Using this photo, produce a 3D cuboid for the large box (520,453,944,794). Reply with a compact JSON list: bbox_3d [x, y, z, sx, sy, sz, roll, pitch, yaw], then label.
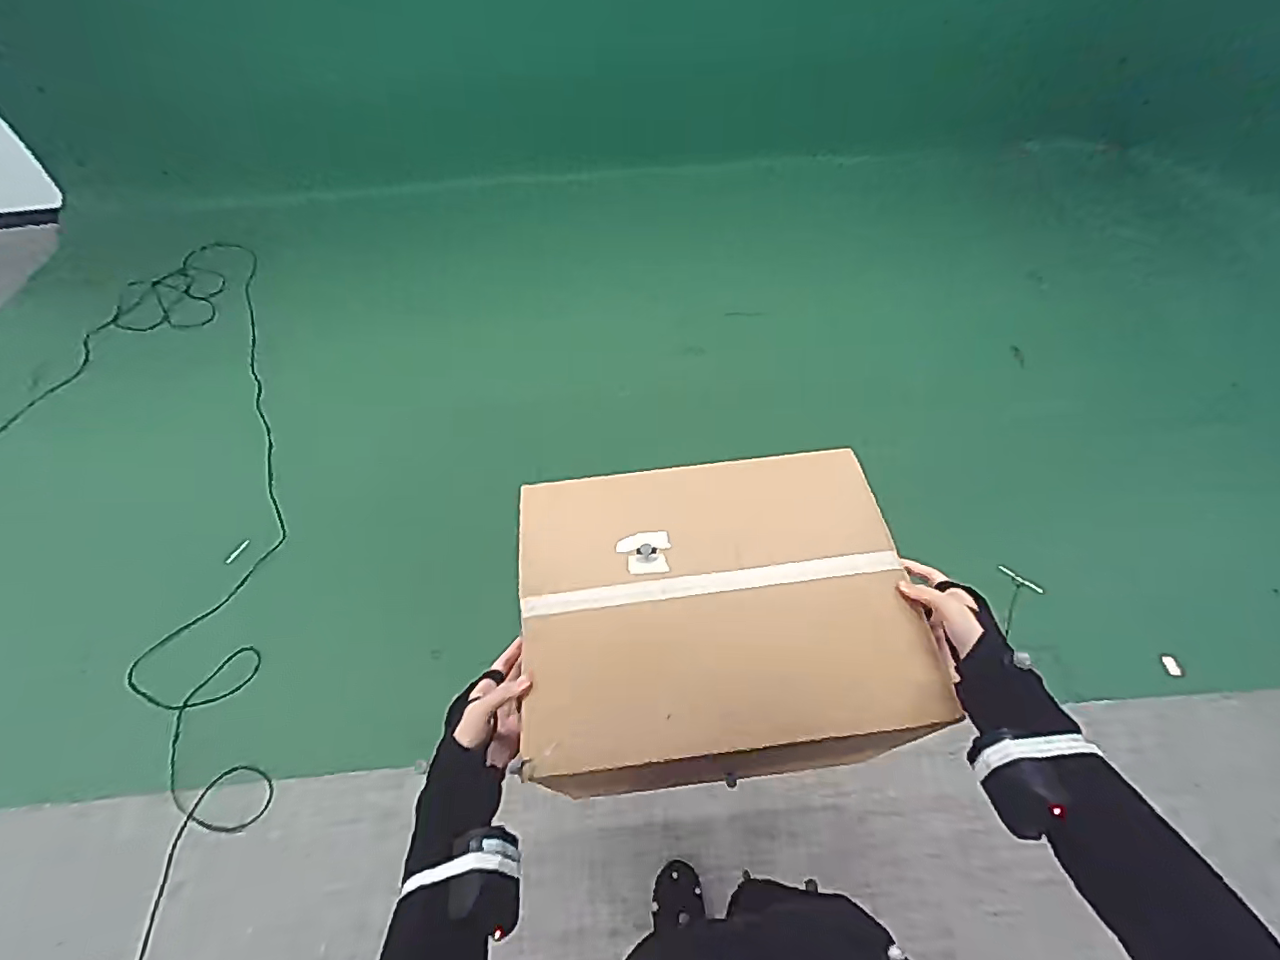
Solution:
[{"bbox_3d":[0.081,0.200,0.704,0.408,0.320,0.320,-8,56,-1],"label":"large box"}]
